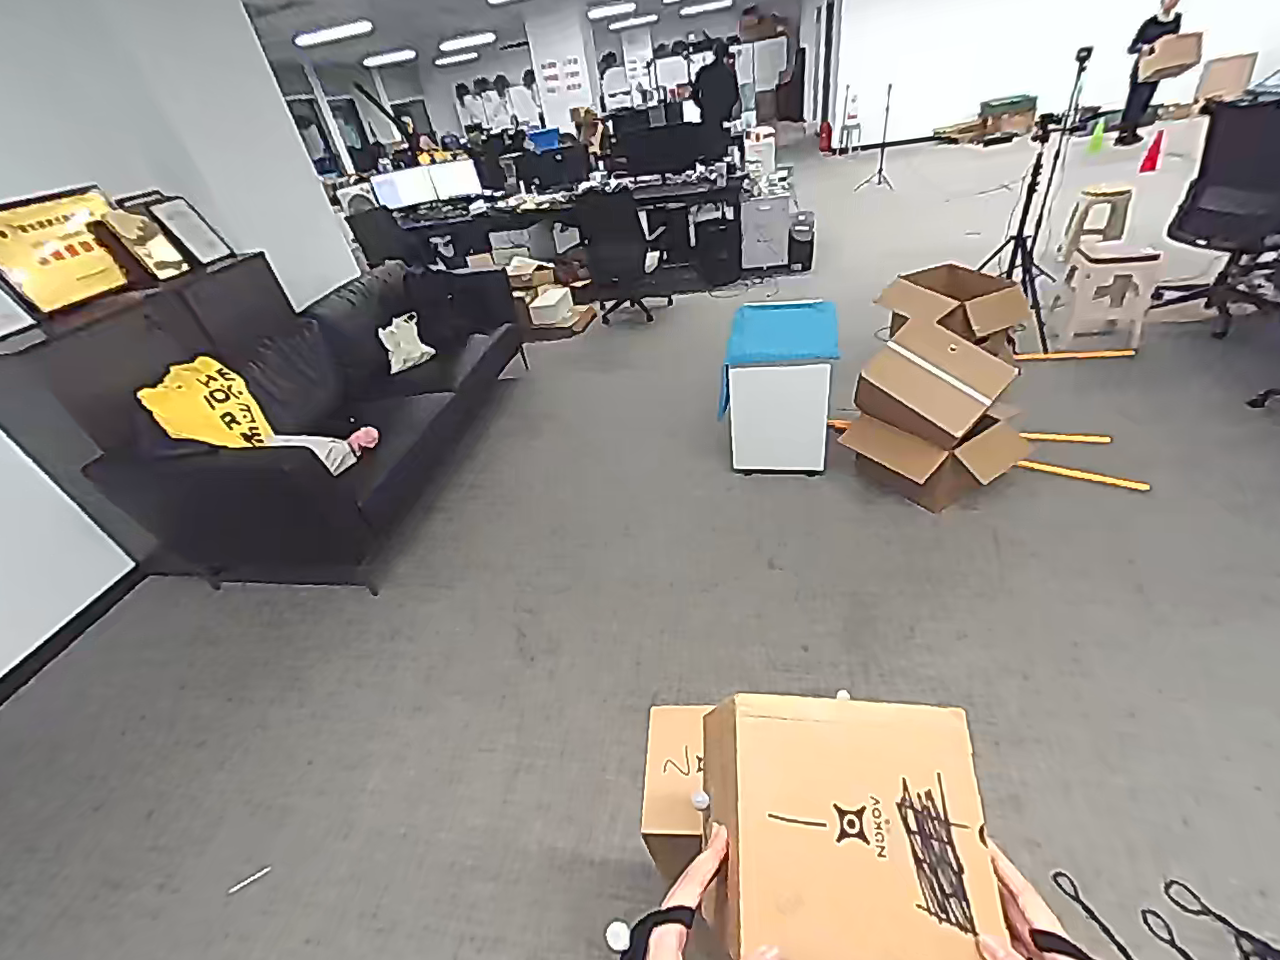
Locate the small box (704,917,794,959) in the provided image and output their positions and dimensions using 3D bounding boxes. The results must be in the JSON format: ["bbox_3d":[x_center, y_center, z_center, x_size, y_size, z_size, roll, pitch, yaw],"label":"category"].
[{"bbox_3d":[0.236,0.929,1.157,0.179,0.176,0.168,-2,37,12],"label":"small box"}]

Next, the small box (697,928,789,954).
[{"bbox_3d":[0.198,0.799,1.064,0.179,0.176,0.168,-2,38,13],"label":"small box"}]

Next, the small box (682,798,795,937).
[{"bbox_3d":[0.174,0.679,0.956,0.179,0.176,0.168,-3,37,11],"label":"small box"}]

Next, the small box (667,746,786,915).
[{"bbox_3d":[0.140,0.552,0.859,0.168,0.176,0.179,-4,38,11],"label":"small box"}]
